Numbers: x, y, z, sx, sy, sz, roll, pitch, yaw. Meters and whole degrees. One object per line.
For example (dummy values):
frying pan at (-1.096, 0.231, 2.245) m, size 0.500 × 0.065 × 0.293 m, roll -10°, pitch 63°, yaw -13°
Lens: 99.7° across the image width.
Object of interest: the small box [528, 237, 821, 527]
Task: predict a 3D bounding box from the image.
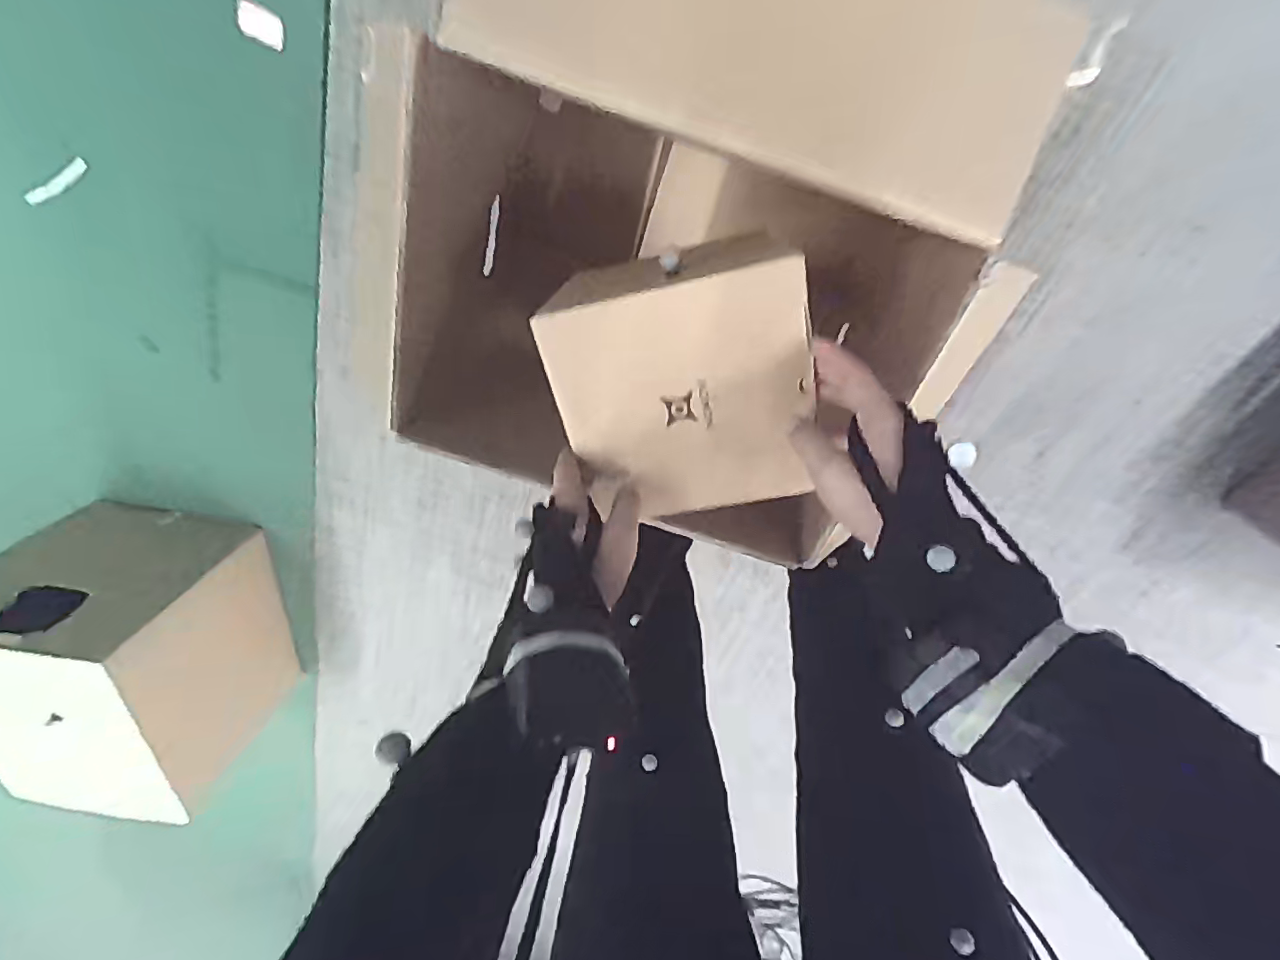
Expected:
small box at (0.034, -0.085, 0.433) m, size 0.179 × 0.176 × 0.168 m, roll -10°, pitch 118°, yaw 8°
